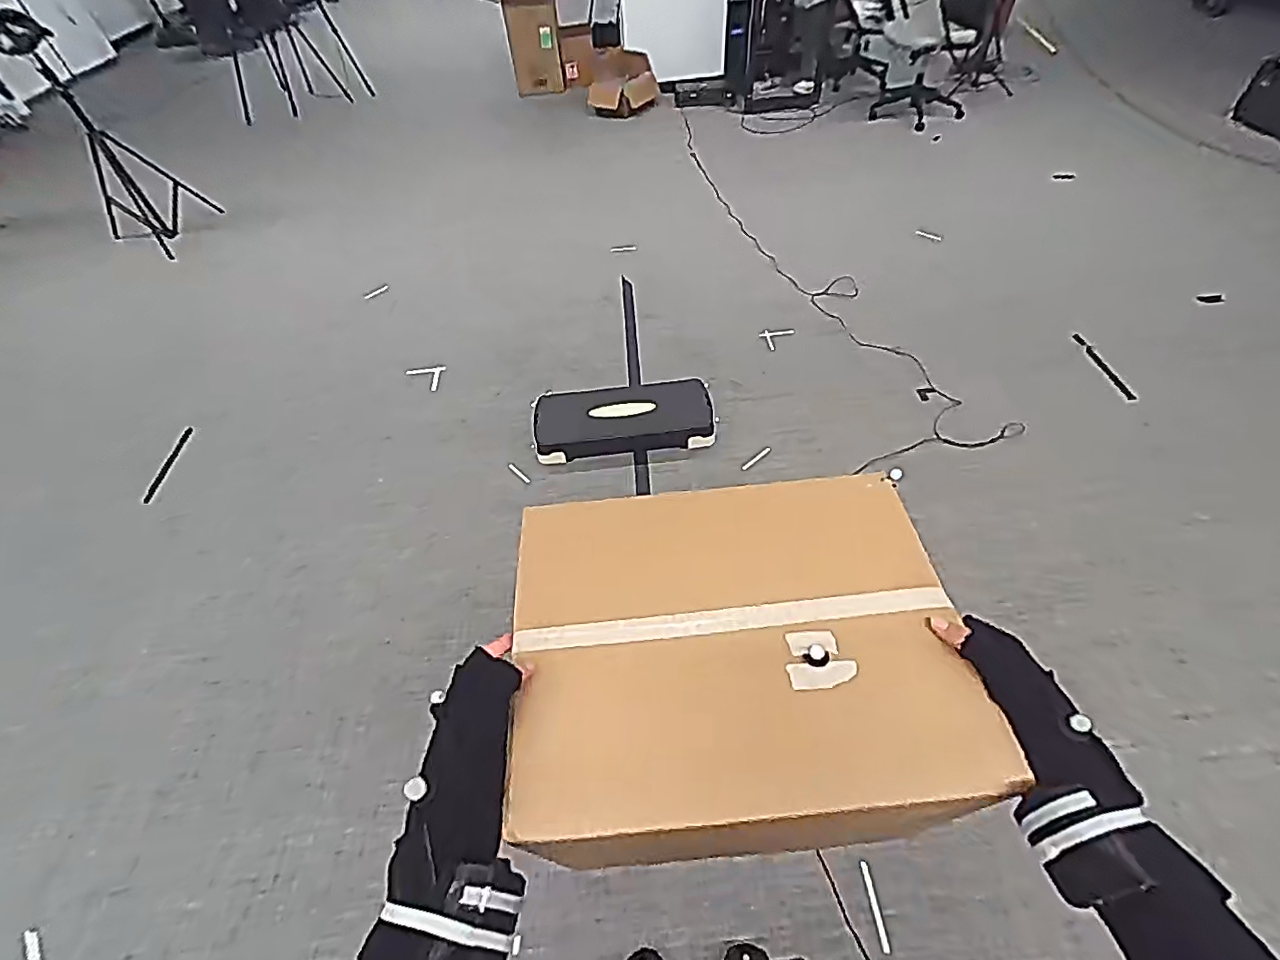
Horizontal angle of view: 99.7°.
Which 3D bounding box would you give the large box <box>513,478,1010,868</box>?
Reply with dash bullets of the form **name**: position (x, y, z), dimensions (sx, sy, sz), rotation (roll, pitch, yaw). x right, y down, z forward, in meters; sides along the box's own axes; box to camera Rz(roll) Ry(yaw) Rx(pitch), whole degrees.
- **large box**: position (0.091, 0.230, 0.629), dimensions (0.408, 0.320, 0.320), rotation (-6, 51, 0)
